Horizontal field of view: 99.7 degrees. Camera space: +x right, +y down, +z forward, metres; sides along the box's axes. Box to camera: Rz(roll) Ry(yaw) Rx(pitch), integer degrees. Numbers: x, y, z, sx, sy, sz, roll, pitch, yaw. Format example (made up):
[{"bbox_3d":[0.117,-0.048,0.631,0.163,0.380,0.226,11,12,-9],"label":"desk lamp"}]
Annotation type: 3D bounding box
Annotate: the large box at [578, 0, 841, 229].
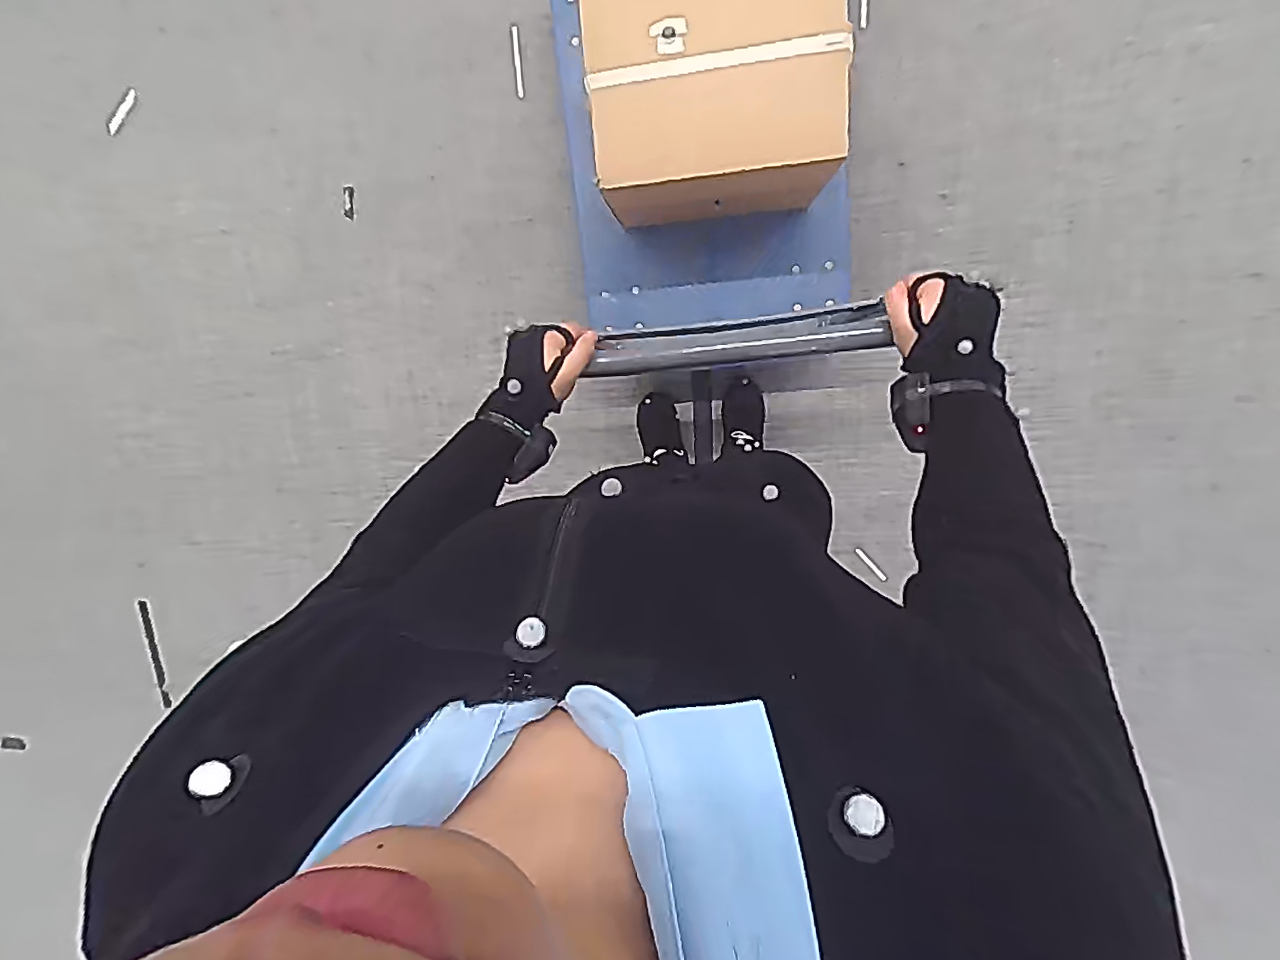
[{"bbox_3d":[0.130,-0.685,1.005,0.408,0.320,0.320,-4,102,8],"label":"large box"}]
